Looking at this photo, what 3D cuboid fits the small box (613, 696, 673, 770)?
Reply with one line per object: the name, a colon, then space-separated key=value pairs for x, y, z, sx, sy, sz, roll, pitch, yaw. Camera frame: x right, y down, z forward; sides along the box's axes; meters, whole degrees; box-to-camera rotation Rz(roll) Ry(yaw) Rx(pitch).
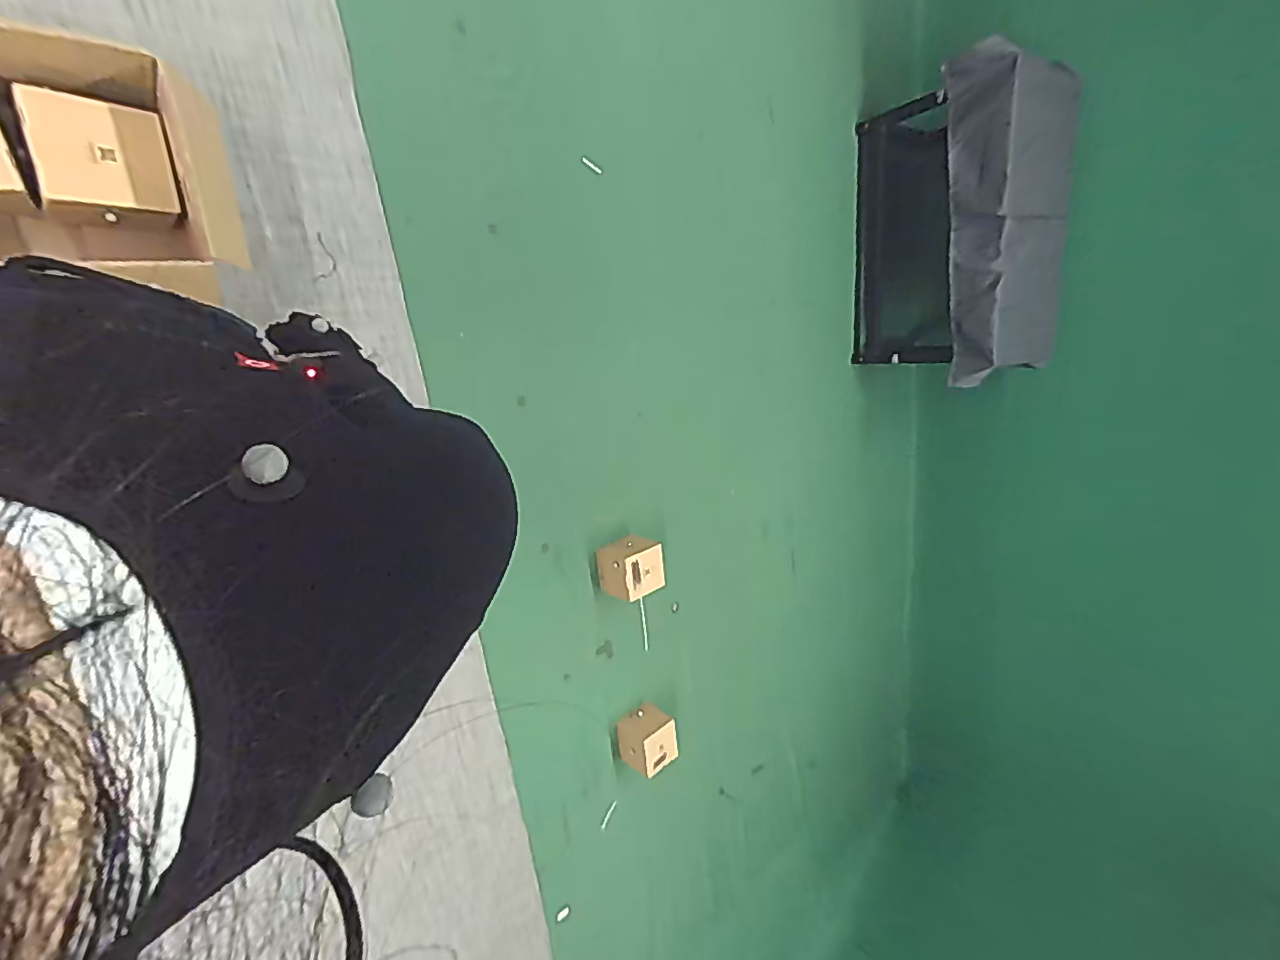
small box: x=0.010 y=1.003 z=2.162 sx=0.168 sy=0.176 sz=0.179 roll=-18 pitch=110 yaw=-39
